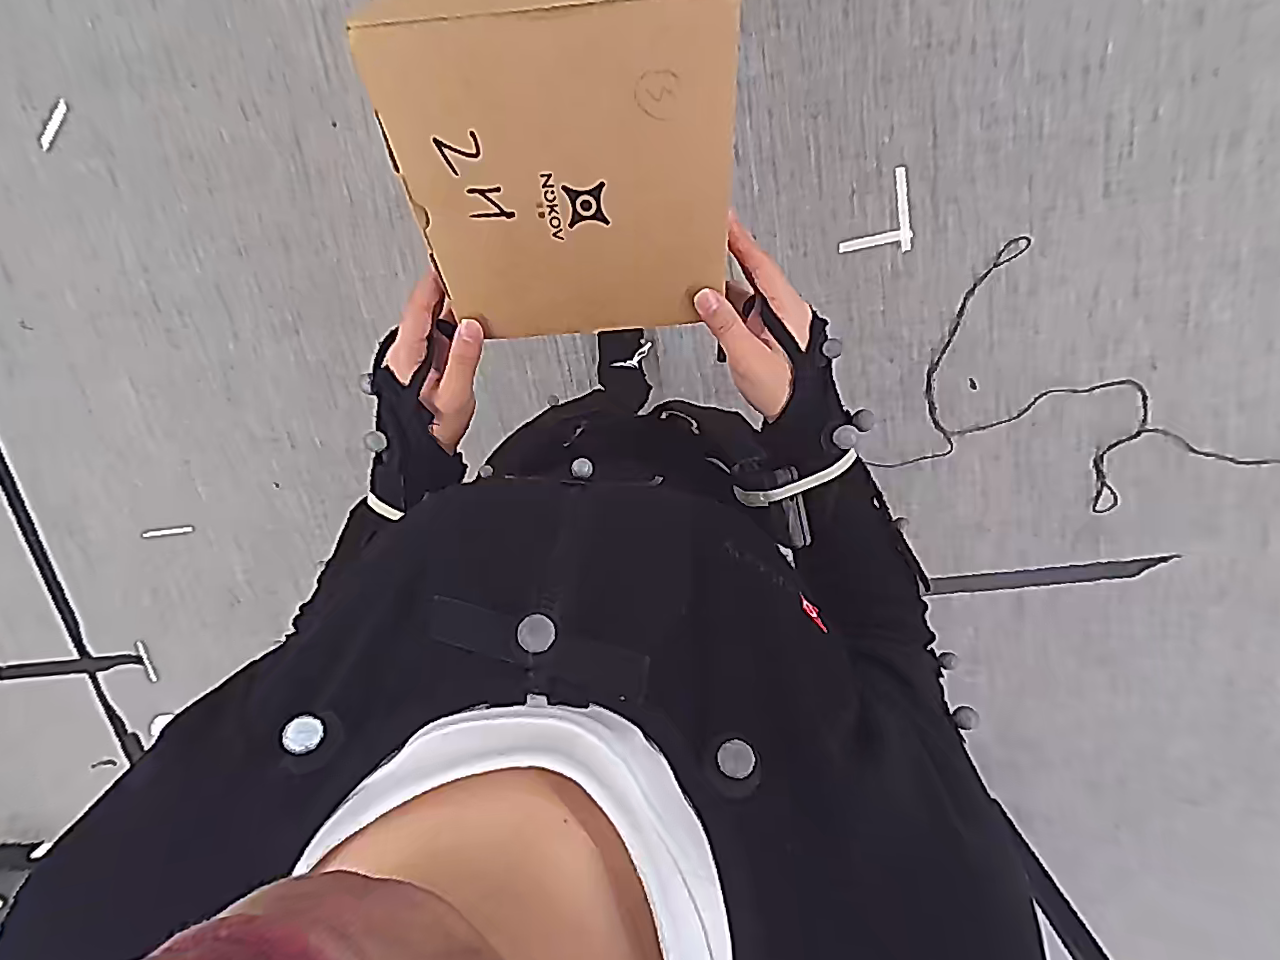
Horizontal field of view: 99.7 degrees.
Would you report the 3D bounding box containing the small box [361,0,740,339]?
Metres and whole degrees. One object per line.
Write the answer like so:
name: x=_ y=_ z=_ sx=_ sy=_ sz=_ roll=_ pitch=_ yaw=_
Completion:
small box: x=-0.039 y=-0.215 z=0.351 sx=0.179 sy=0.176 sz=0.168 roll=-4 pitch=140 yaw=3
